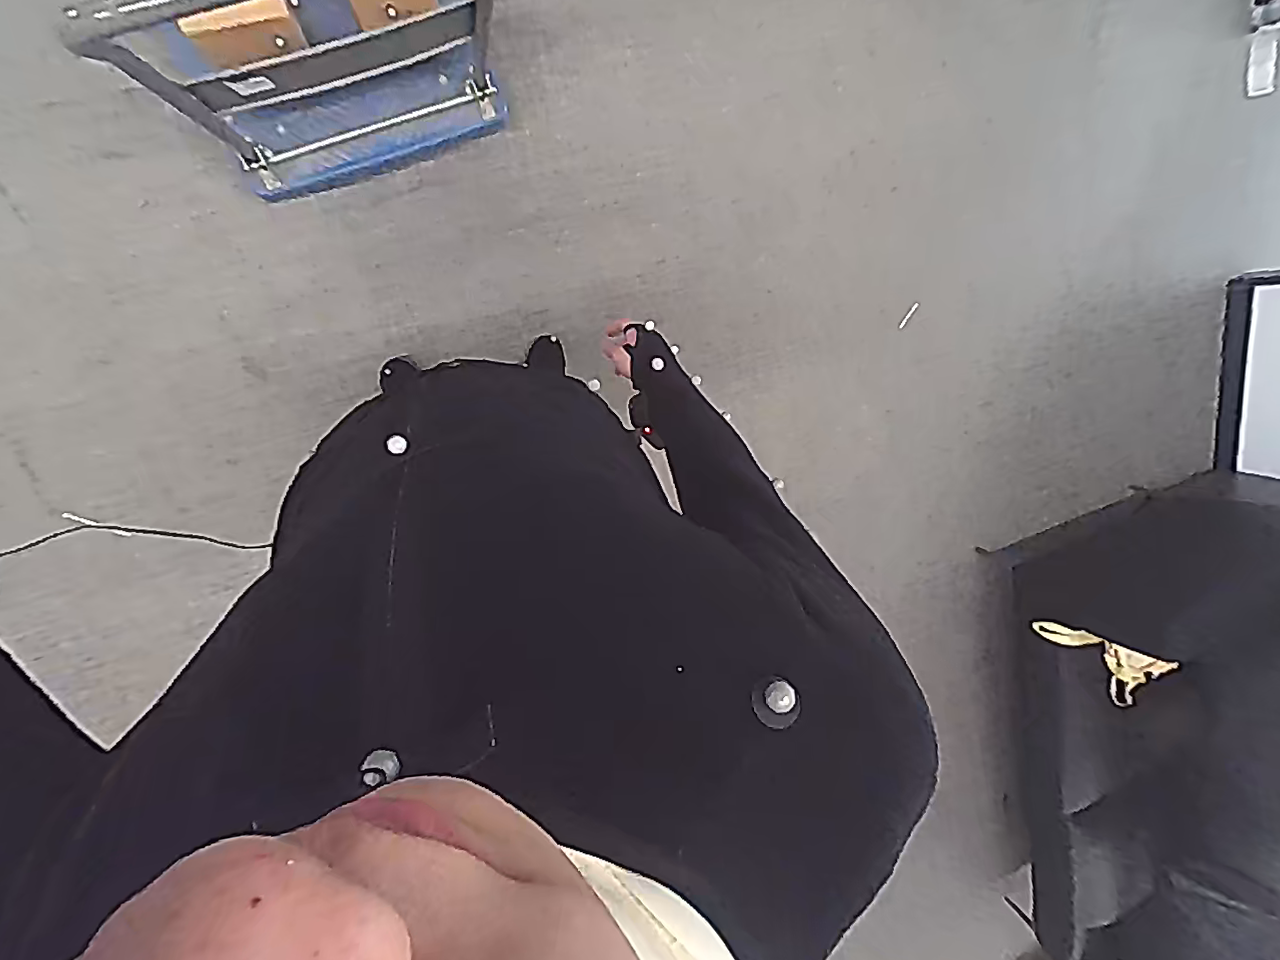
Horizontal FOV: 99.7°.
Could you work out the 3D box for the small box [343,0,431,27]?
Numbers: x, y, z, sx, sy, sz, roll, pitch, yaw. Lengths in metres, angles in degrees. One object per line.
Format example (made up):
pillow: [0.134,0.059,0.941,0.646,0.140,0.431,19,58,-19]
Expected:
small box: [-0.510,-1.007,1.012,0.168,0.176,0.179,-23,111,-9]
